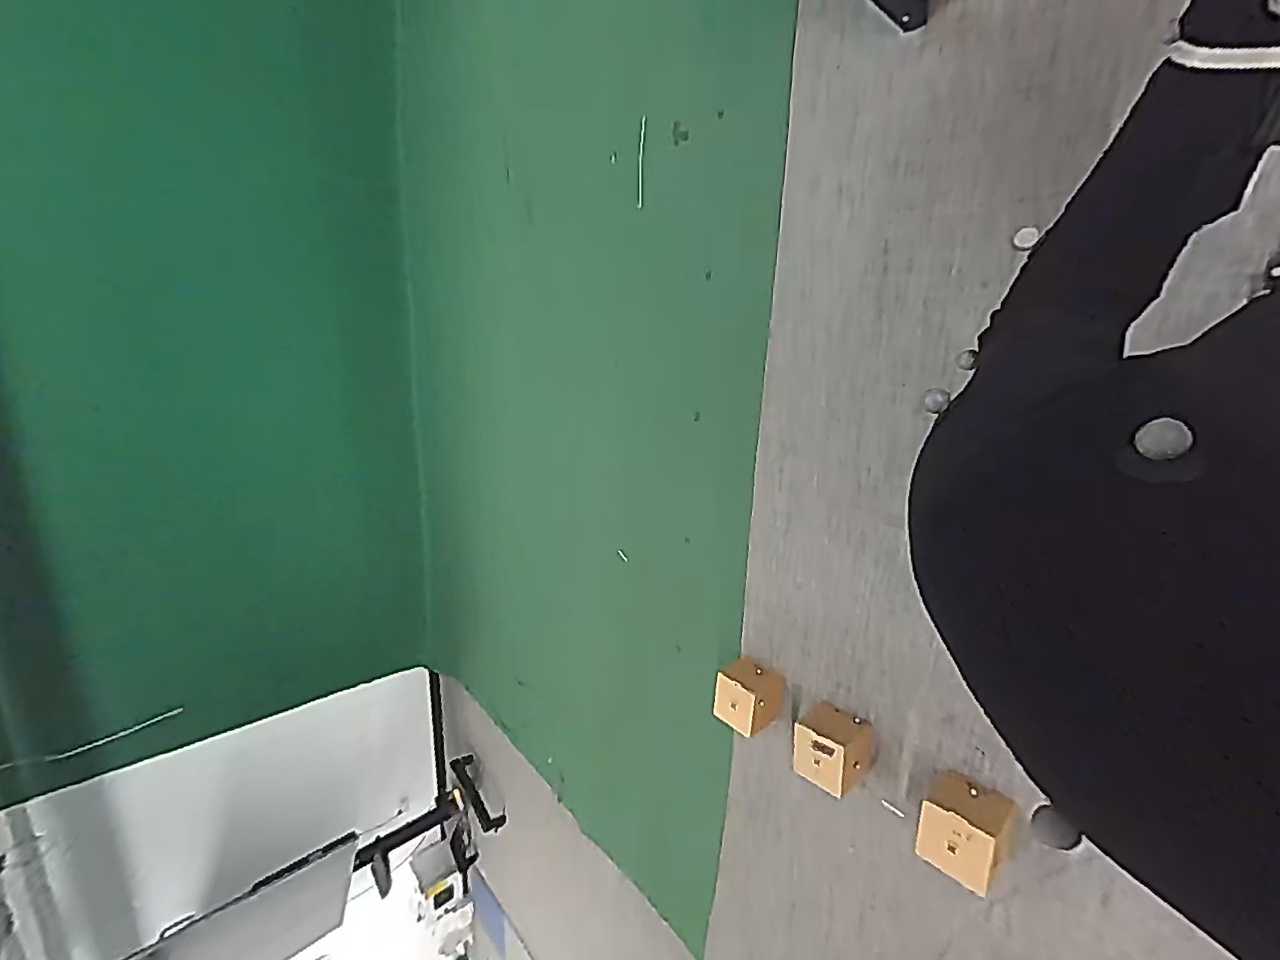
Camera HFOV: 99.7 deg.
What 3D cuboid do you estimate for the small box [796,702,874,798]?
[{"bbox_3d":[0.604,0.821,1.668,0.168,0.176,0.179,11,106,48],"label":"small box"}]

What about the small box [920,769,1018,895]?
[{"bbox_3d":[0.850,0.896,1.395,0.168,0.176,0.179,14,107,46],"label":"small box"}]

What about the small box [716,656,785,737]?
[{"bbox_3d":[0.391,0.755,1.902,0.168,0.176,0.179,18,110,45],"label":"small box"}]
